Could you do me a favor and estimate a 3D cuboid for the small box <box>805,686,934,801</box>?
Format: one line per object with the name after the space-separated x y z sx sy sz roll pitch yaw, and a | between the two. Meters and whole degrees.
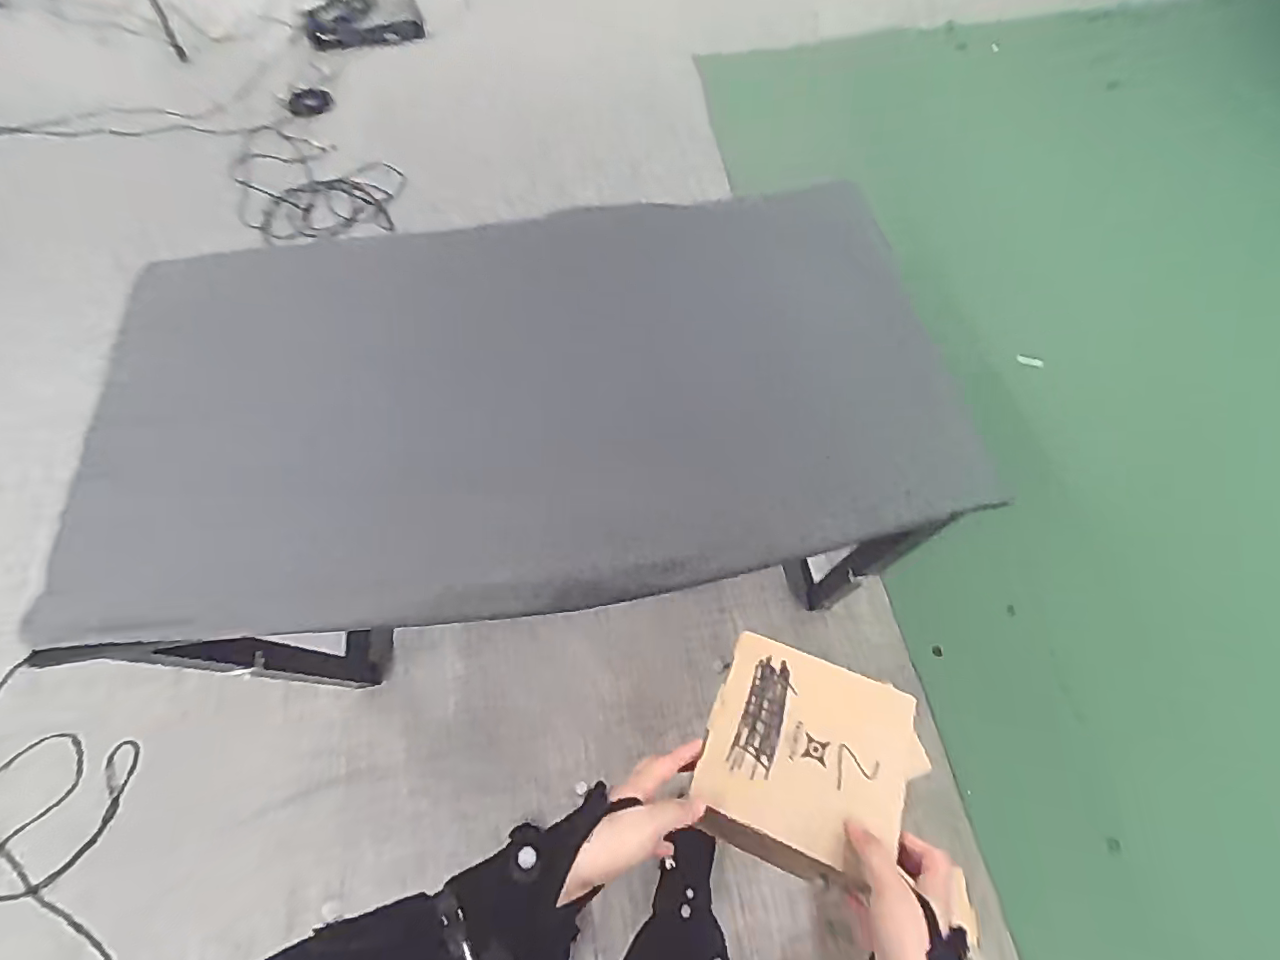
0.477 0.554 1.152 0.168 0.176 0.179 -16 66 -6 | small box

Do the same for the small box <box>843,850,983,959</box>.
0.510 0.821 1.030 0.179 0.176 0.168 -1 66 2 | small box
